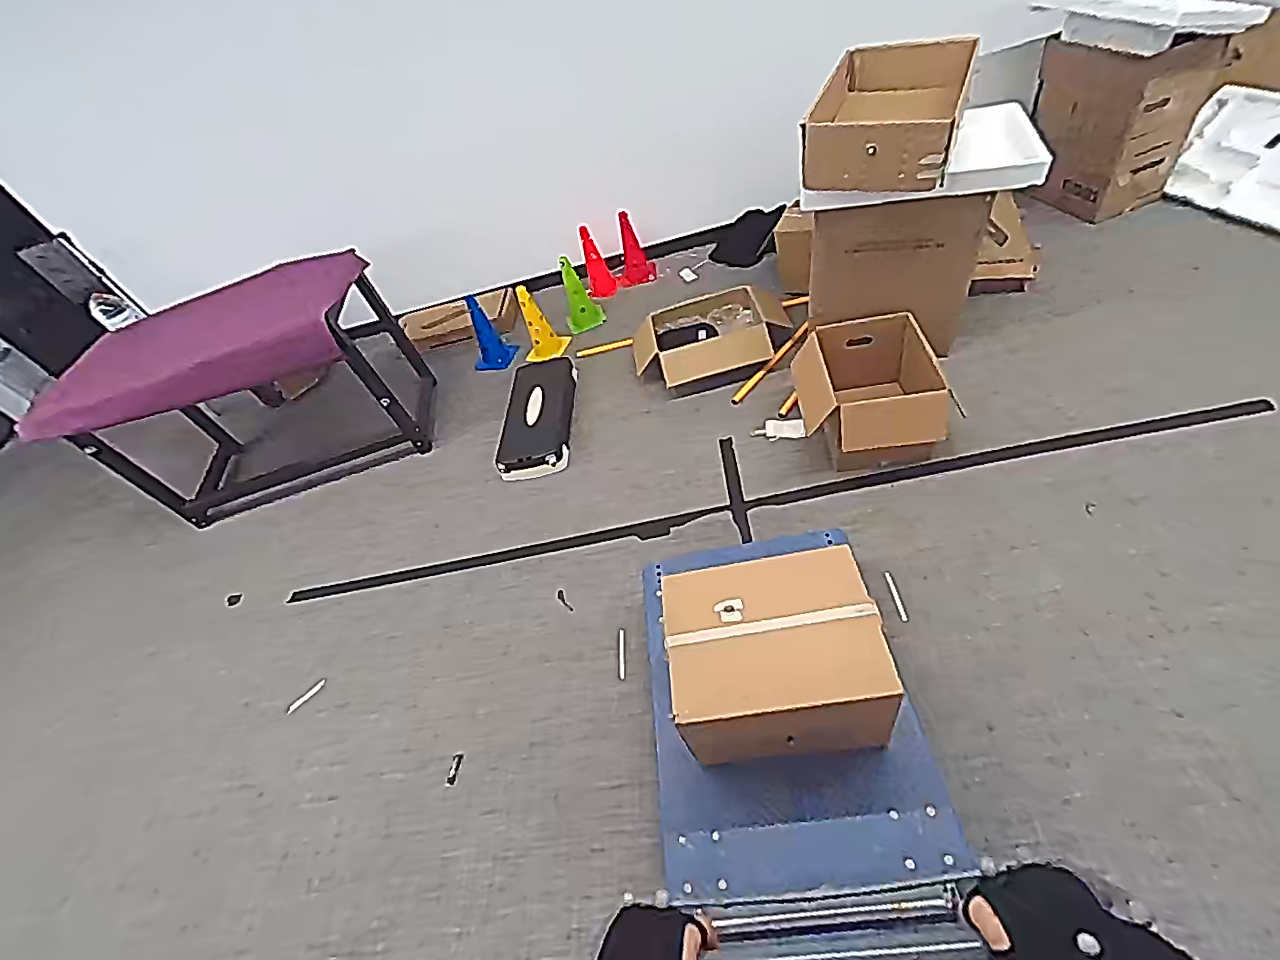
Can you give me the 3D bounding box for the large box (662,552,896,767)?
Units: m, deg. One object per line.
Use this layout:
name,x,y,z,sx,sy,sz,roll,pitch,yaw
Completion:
large box,0.287,0.400,1.178,0.408,0.320,0.320,-12,46,9
